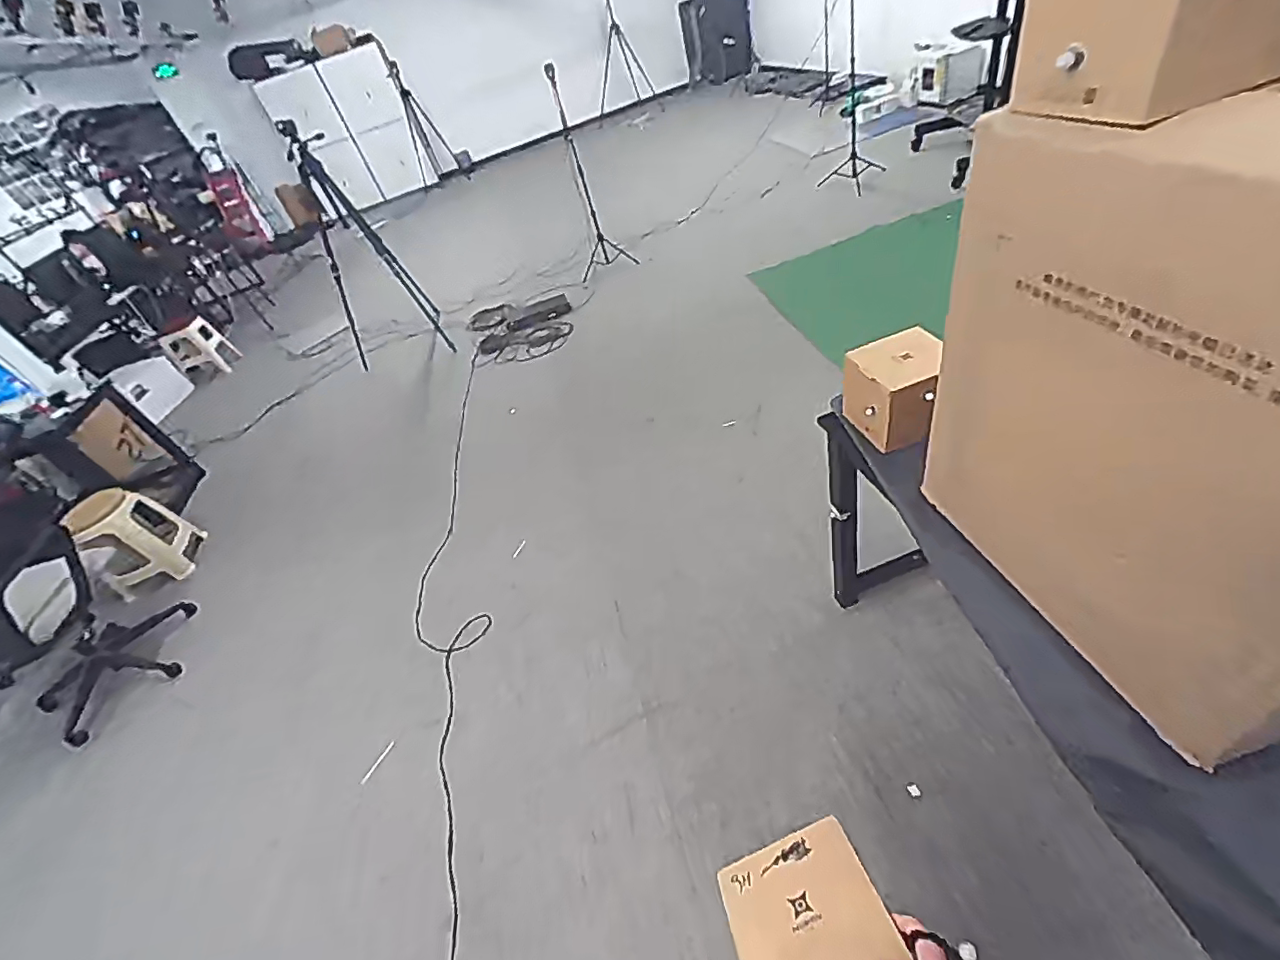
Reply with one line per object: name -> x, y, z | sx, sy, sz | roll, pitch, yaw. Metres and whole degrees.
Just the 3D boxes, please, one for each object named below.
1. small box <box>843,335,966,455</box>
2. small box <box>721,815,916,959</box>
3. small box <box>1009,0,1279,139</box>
small box -> 0.559, -0.179, 1.166 | 0.179, 0.176, 0.168 | -20, 43, -4
small box -> 0.216, 0.537, 0.606 | 0.168, 0.176, 0.179 | -26, 16, 0
small box -> 0.496, -0.454, 0.515 | 0.179, 0.176, 0.168 | -20, 39, 0
